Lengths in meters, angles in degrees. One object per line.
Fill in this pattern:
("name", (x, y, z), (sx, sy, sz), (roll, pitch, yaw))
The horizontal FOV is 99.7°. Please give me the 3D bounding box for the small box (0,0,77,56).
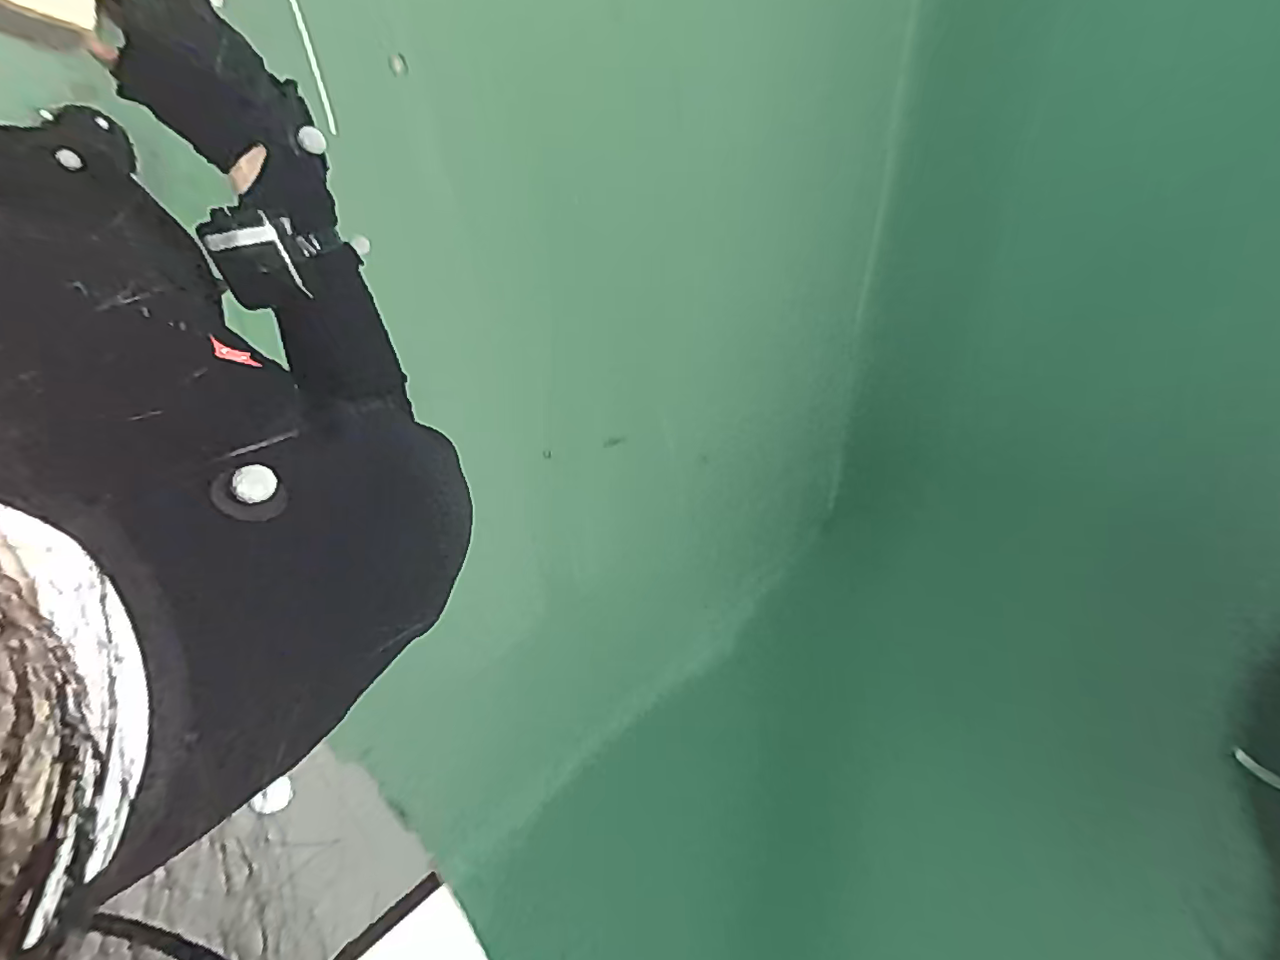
("small box", (-0.346, -0.303, 0.210), (0.168, 0.176, 0.179), (-8, 118, -47))
